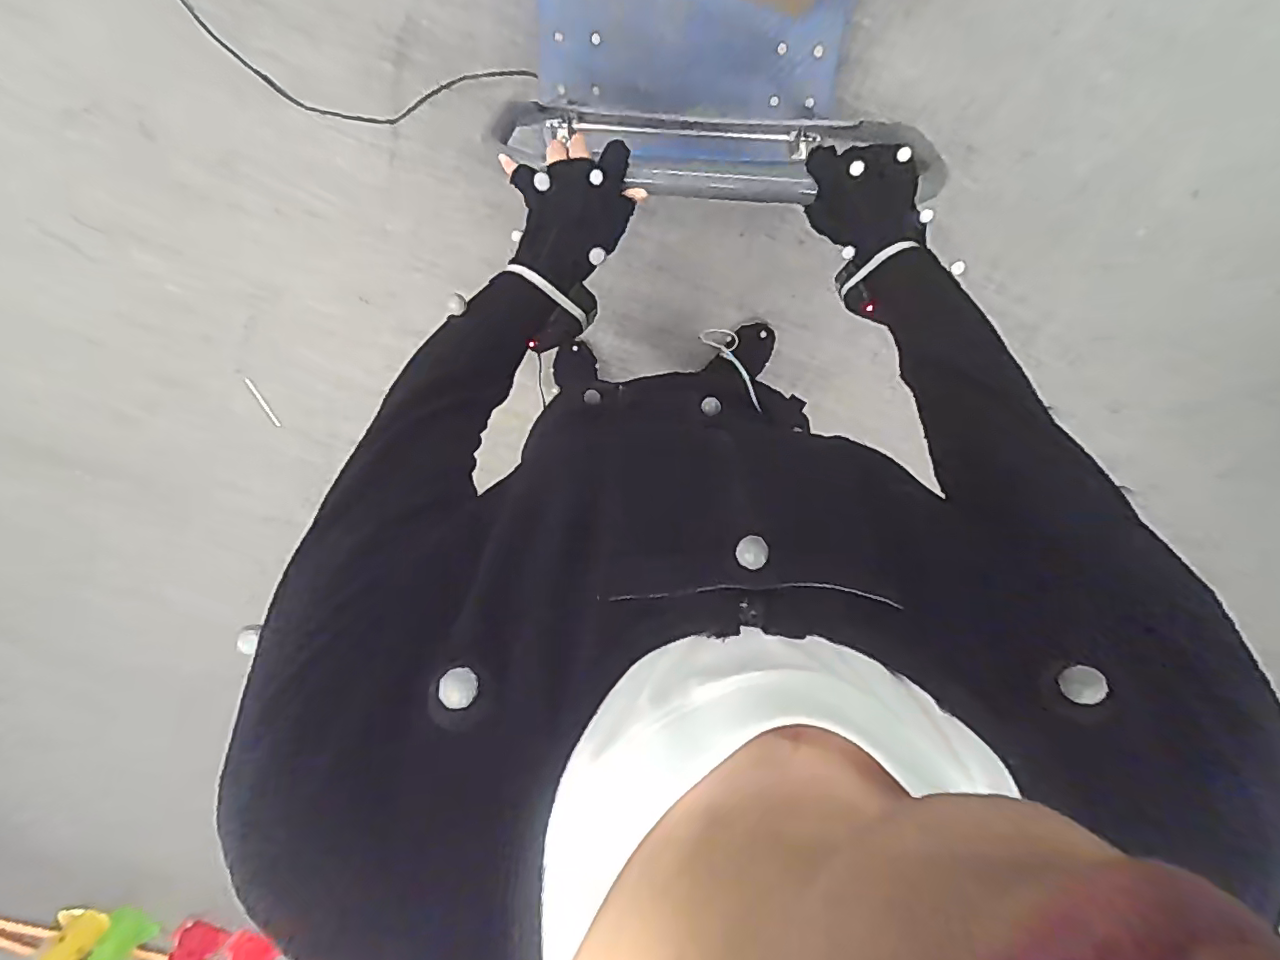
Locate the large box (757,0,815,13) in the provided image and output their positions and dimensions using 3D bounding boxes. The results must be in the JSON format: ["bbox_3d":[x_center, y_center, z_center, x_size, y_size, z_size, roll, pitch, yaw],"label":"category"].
[{"bbox_3d":[0.141,-0.948,0.769,0.408,0.320,0.320,16,120,-7],"label":"large box"}]
